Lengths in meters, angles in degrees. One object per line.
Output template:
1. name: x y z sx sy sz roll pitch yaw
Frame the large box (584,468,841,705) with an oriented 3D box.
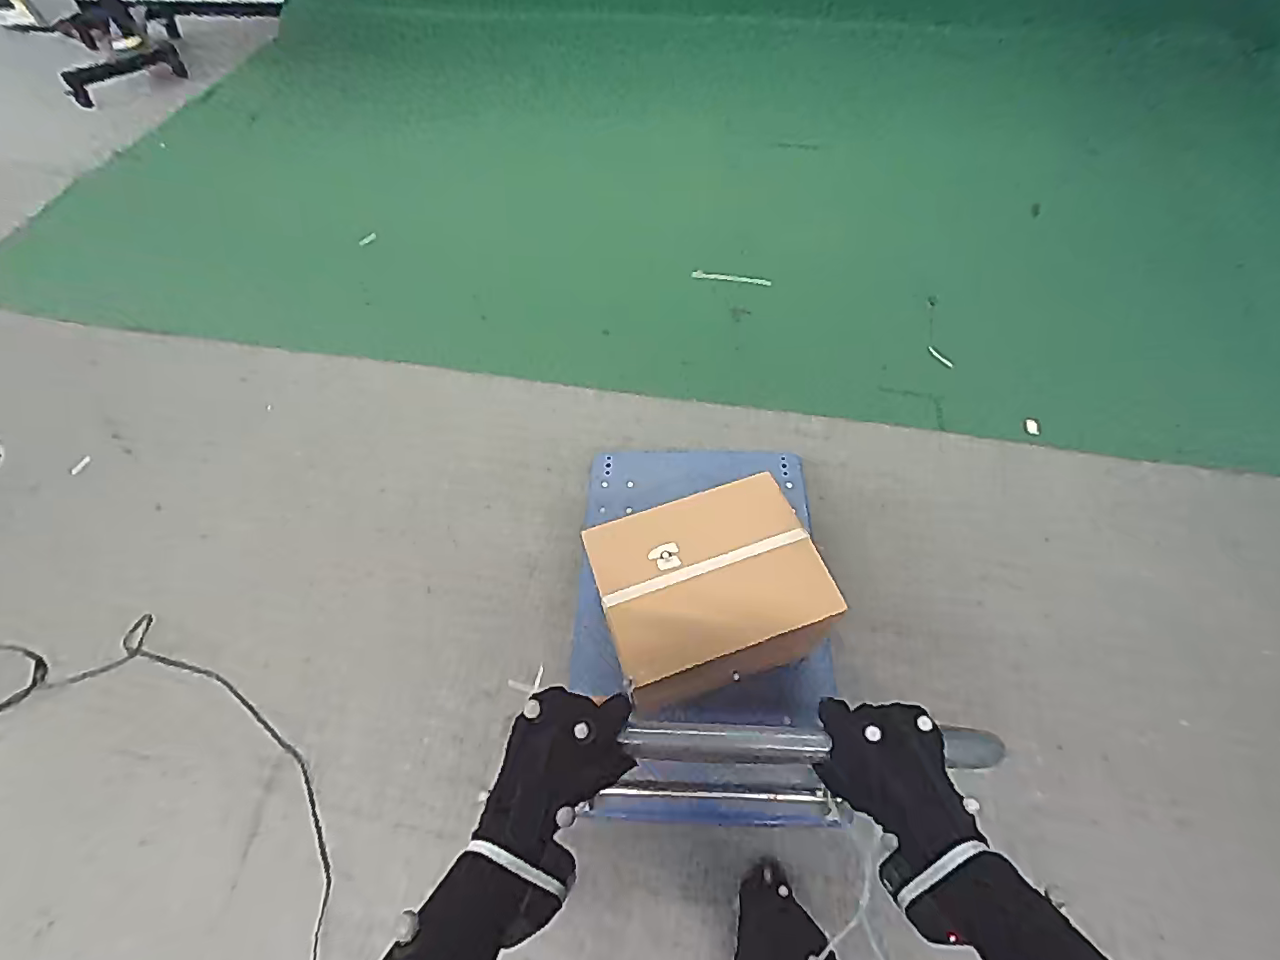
1. large box: 0.134 0.232 1.134 0.408 0.320 0.320 -18 59 -7
